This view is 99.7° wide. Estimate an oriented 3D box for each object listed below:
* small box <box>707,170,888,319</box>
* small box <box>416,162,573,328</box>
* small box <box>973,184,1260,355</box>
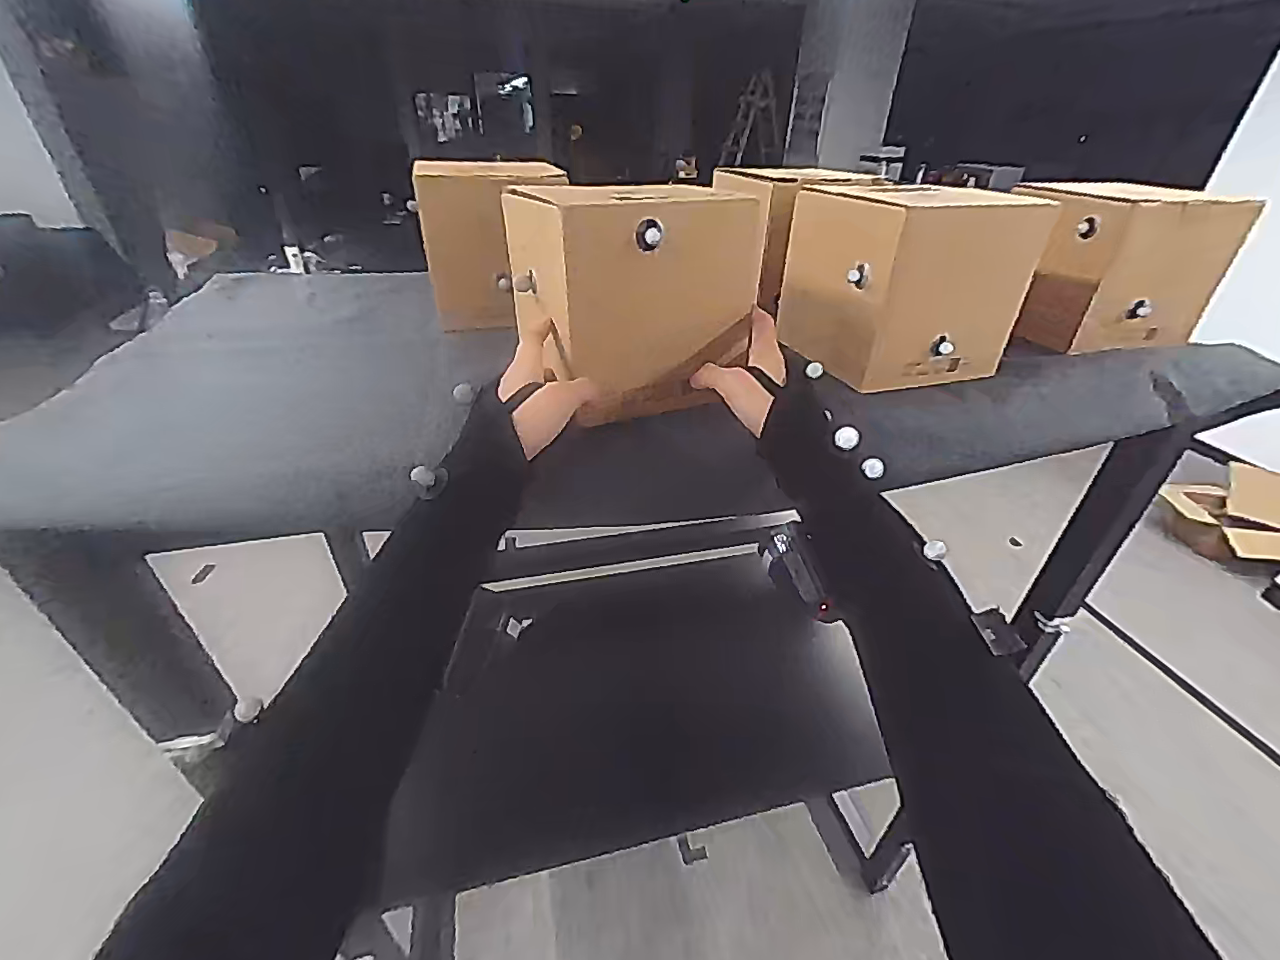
[{"bbox_3d":[0.203,-0.328,0.752,0.168,0.176,0.179,-8,34,-15],"label":"small box"},{"bbox_3d":[-0.184,-0.304,0.695,0.168,0.176,0.179,-9,36,-15],"label":"small box"},{"bbox_3d":[0.563,-0.265,0.674,0.168,0.176,0.179,-5,34,-9],"label":"small box"}]
